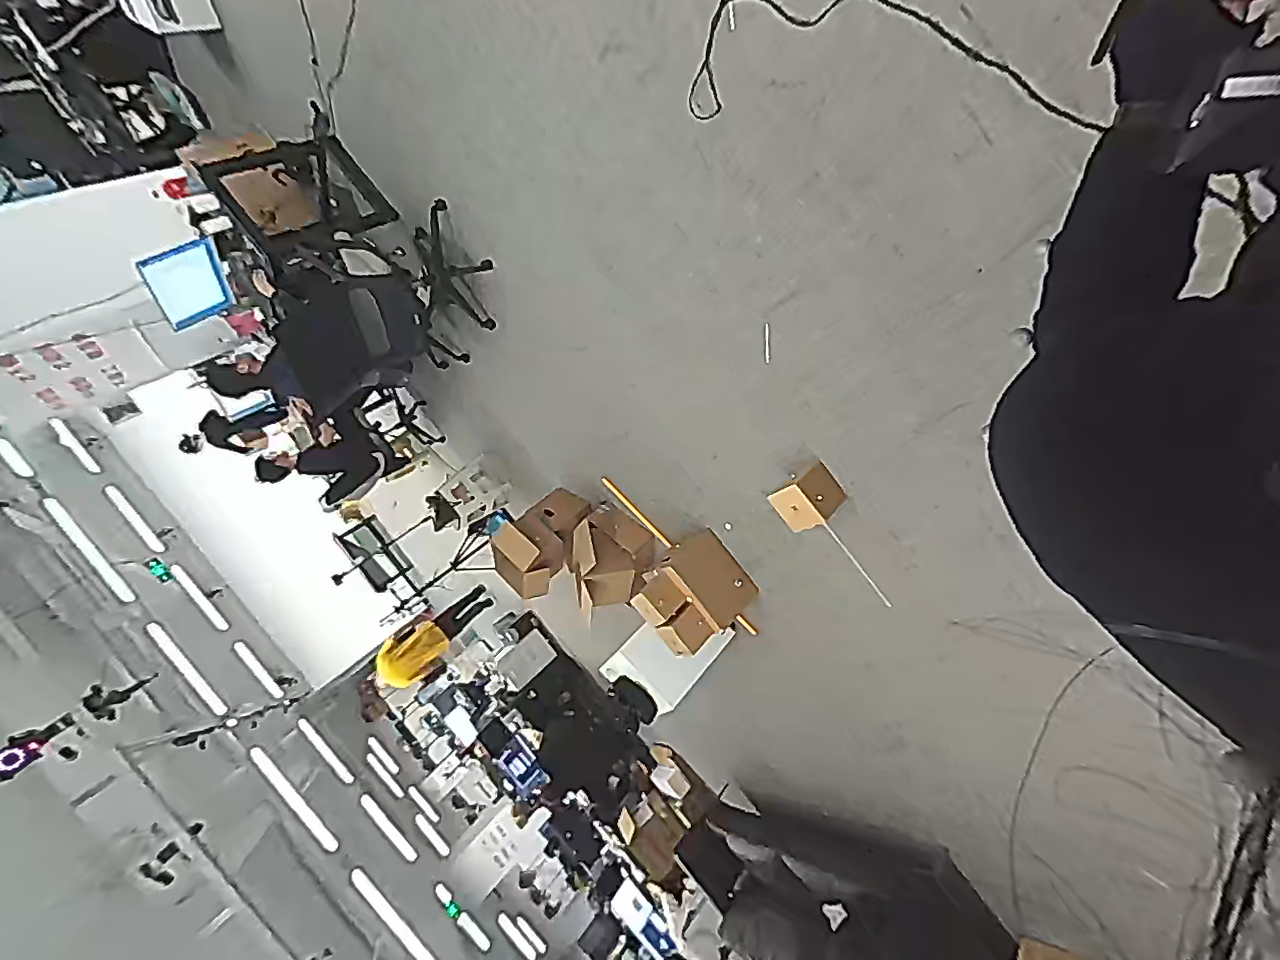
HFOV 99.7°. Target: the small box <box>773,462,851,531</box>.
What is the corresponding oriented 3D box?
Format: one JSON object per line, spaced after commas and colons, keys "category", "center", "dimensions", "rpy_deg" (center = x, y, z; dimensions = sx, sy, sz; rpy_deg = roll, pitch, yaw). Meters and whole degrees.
{"category": "small box", "center": [0.627, 0.055, 1.968], "dimensions": [0.179, 0.176, 0.168], "rpy_deg": [50, 149, -1]}
